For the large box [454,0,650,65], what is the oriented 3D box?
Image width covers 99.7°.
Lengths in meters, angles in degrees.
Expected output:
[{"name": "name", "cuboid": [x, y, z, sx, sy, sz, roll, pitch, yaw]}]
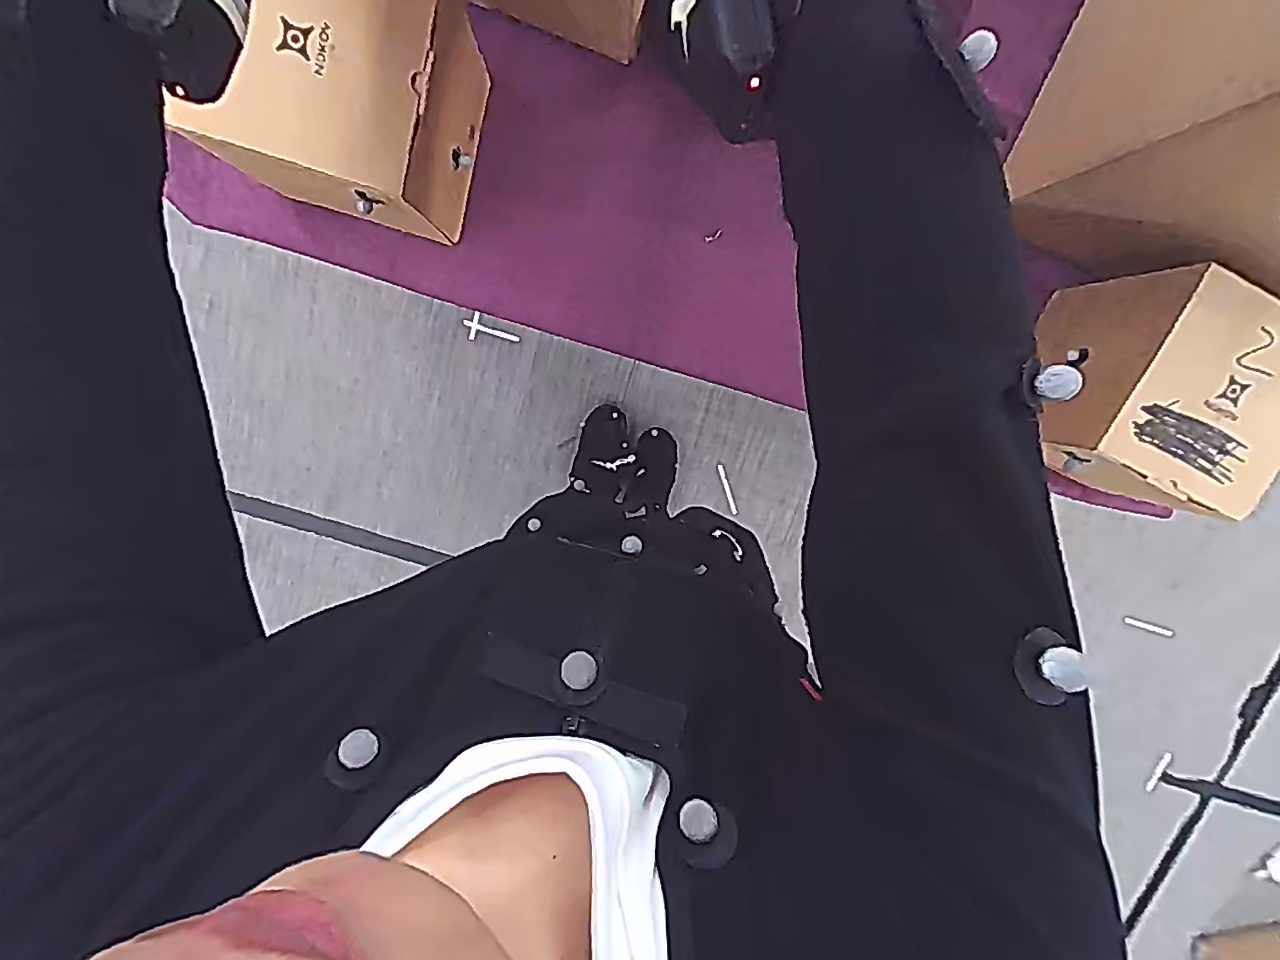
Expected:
[{"name": "large box", "cuboid": [-0.087, -0.612, 0.354, 0.320, 0.320, 0.408, 17, 103, -6]}]

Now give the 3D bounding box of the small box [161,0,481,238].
[{"name": "small box", "cuboid": [-0.255, -0.331, 0.472, 0.179, 0.176, 0.168, 14, 100, -9]}]
